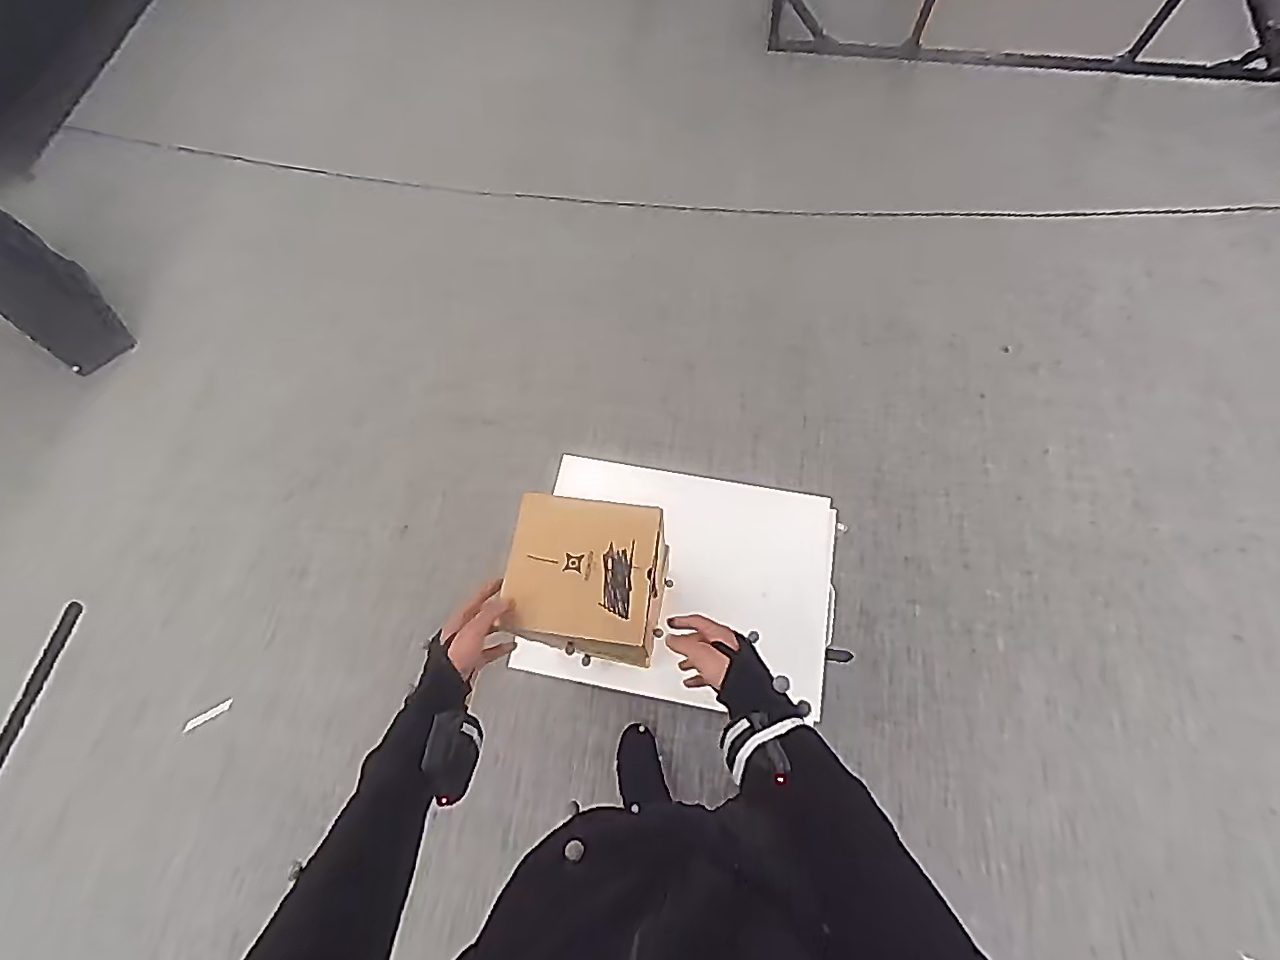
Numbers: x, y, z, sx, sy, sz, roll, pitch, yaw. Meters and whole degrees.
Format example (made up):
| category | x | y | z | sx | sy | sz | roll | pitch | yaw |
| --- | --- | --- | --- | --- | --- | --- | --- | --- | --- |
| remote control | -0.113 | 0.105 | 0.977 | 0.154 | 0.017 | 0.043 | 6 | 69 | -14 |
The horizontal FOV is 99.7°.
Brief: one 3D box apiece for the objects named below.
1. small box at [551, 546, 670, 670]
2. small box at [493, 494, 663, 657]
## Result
| category | x | y | z | sx | sy | sz | roll | pitch | yaw |
| --- | --- | --- | --- | --- | --- | --- | --- | --- | --- |
| small box | -0.052 | 0.192 | 0.855 | 0.168 | 0.176 | 0.179 | 11 | 69 | 7 |
| small box | -0.065 | 0.132 | 0.703 | 0.179 | 0.176 | 0.168 | 6 | 68 | 6 |
